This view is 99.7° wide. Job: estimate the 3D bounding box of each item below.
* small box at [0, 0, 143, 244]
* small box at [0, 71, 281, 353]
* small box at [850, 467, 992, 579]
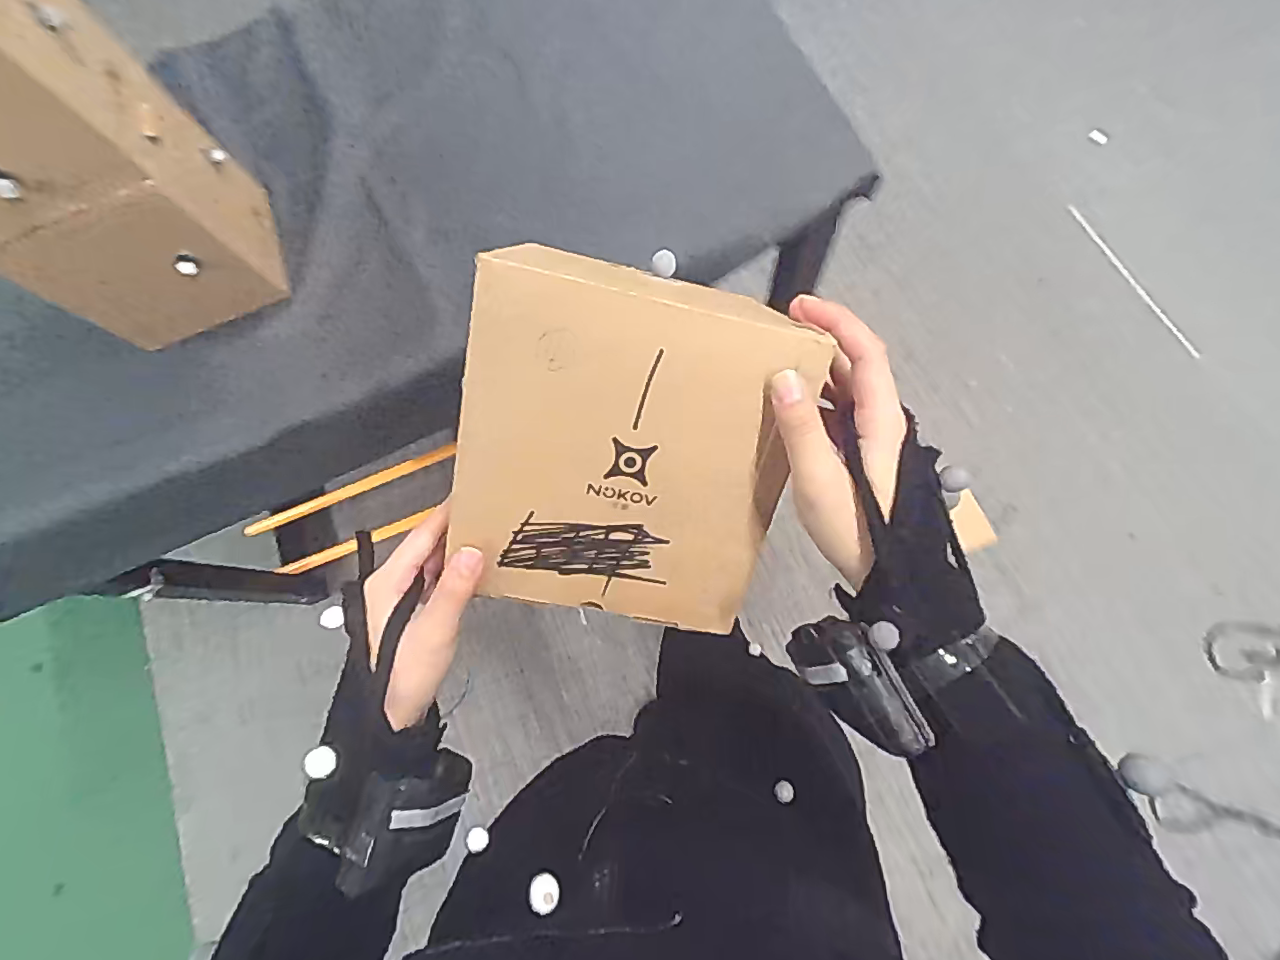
[{"bbox_3d":[-0.536,-0.317,0.416,0.179,0.176,0.168,-24,73,-2],"label":"small box"},{"bbox_3d":[-0.517,-0.267,0.571,0.179,0.176,0.168,-23,73,-1],"label":"small box"},{"bbox_3d":[0.572,0.095,1.128,0.179,0.176,0.168,-22,73,-1],"label":"small box"}]
